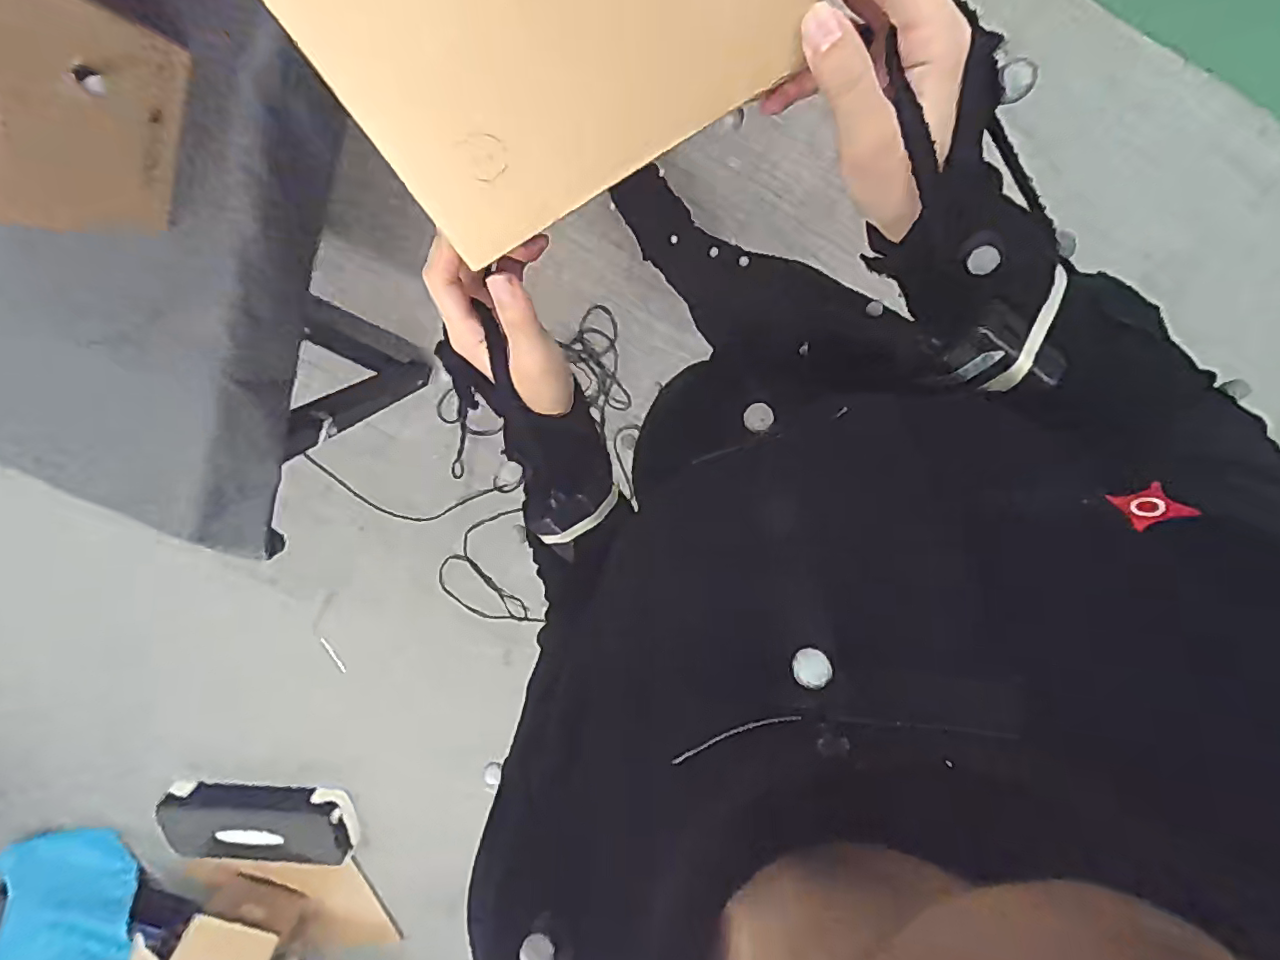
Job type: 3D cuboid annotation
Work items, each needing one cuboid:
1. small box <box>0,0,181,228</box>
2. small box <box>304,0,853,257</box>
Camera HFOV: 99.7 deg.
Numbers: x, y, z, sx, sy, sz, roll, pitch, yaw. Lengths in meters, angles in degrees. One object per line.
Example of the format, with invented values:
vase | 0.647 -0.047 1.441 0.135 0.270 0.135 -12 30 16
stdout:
small box | -0.508 -0.312 0.413 0.179 0.176 0.168 26 111 -6
small box | -0.039 -0.237 0.236 0.179 0.176 0.168 -26 131 12
